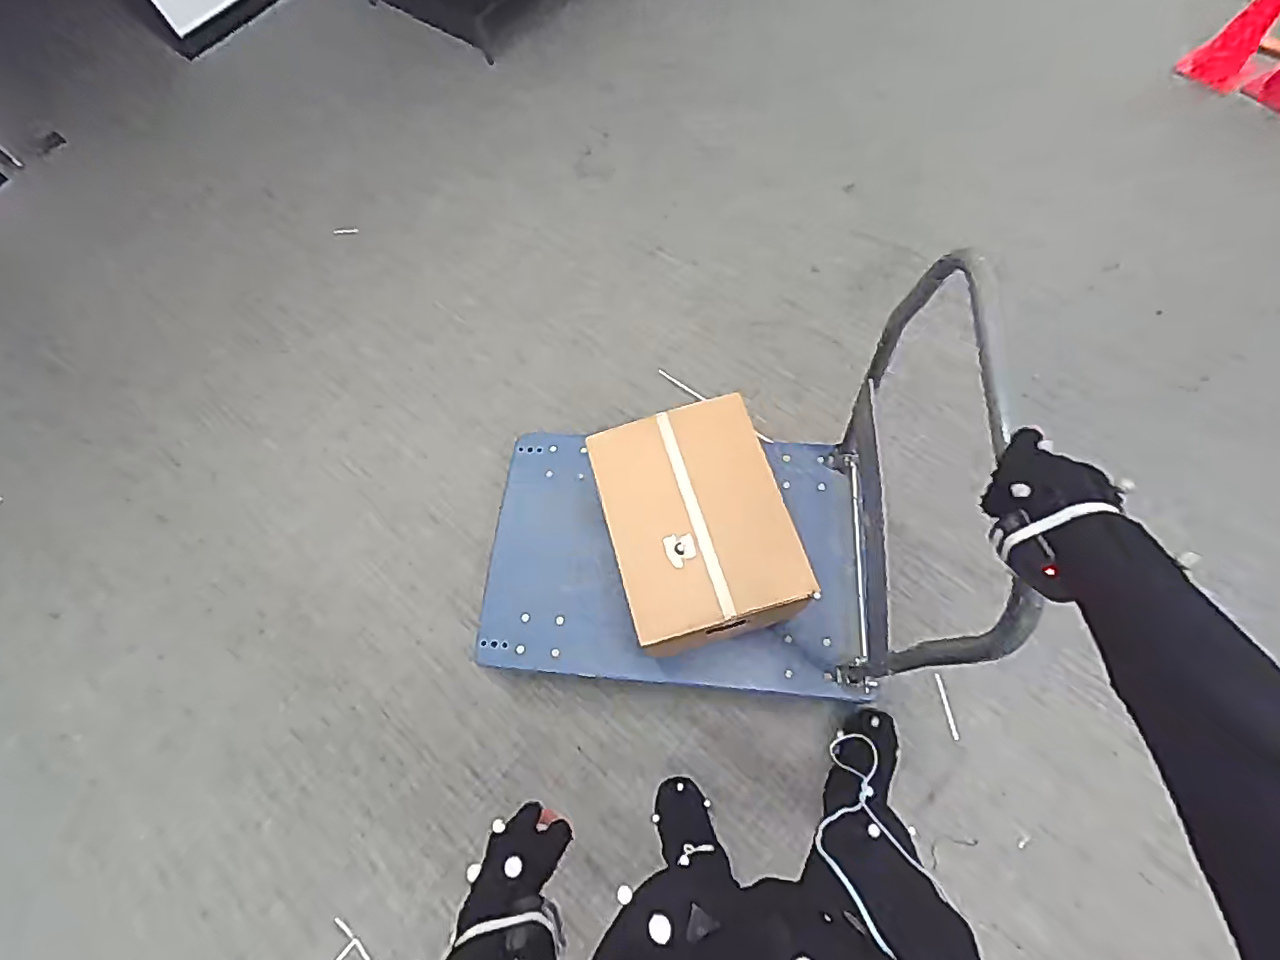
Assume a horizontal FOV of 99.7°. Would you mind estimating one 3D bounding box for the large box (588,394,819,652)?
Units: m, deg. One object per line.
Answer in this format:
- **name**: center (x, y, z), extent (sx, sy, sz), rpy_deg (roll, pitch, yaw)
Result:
- **large box**: center (0.109, 0.101, 1.106), extent (0.320, 0.320, 0.408), rpy_deg (-17, 68, -1)
